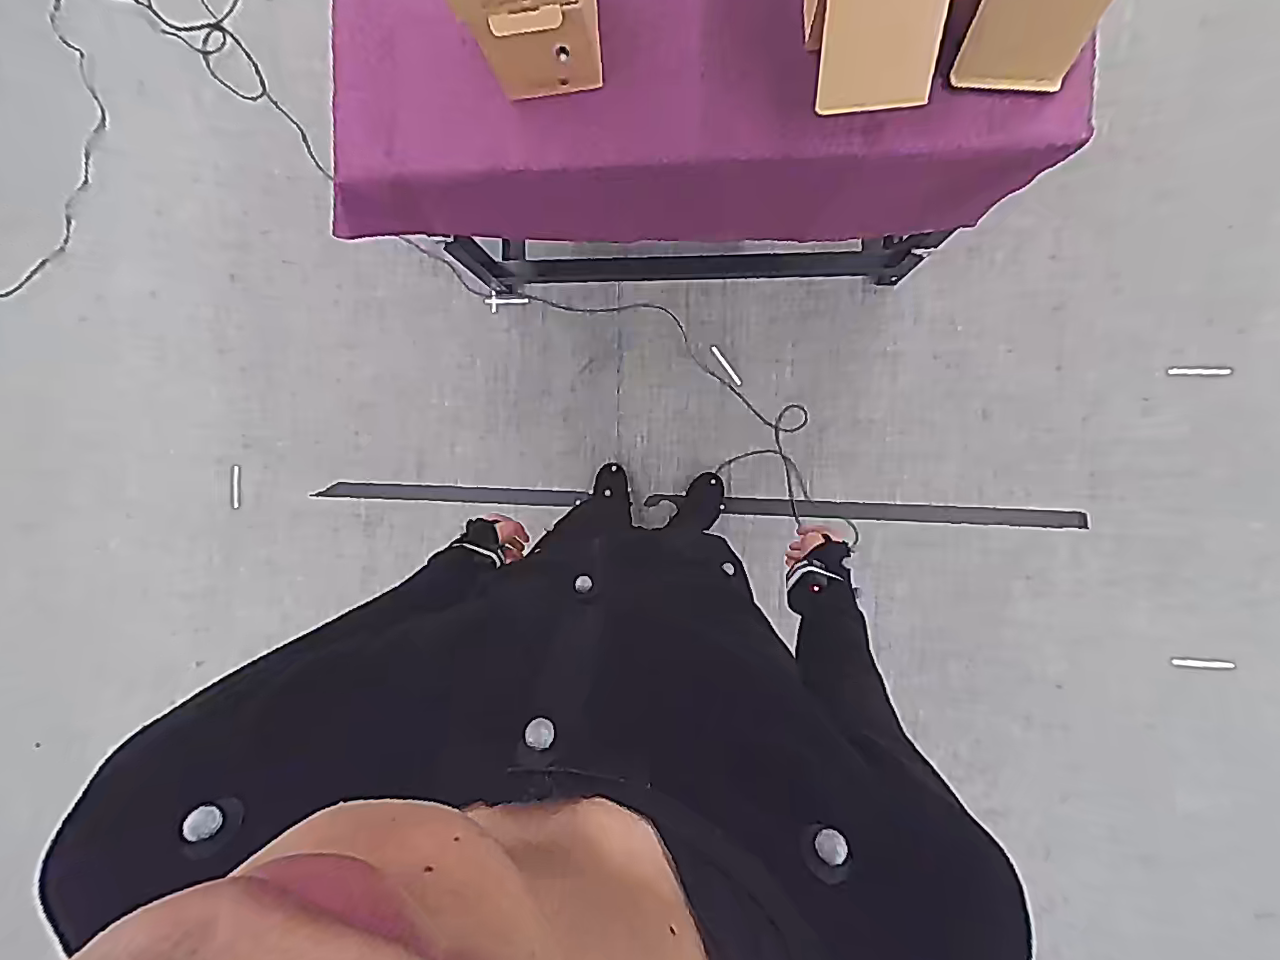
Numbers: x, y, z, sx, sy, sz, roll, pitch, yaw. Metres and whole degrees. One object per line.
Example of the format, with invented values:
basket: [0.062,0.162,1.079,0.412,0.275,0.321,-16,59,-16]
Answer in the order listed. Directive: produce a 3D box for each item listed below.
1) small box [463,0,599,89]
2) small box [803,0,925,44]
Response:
small box: [-0.158,-0.727,0.812,0.168,0.176,0.179,-3,91,5]
small box: [0.326,-0.769,0.758,0.168,0.176,0.179,-2,92,7]
